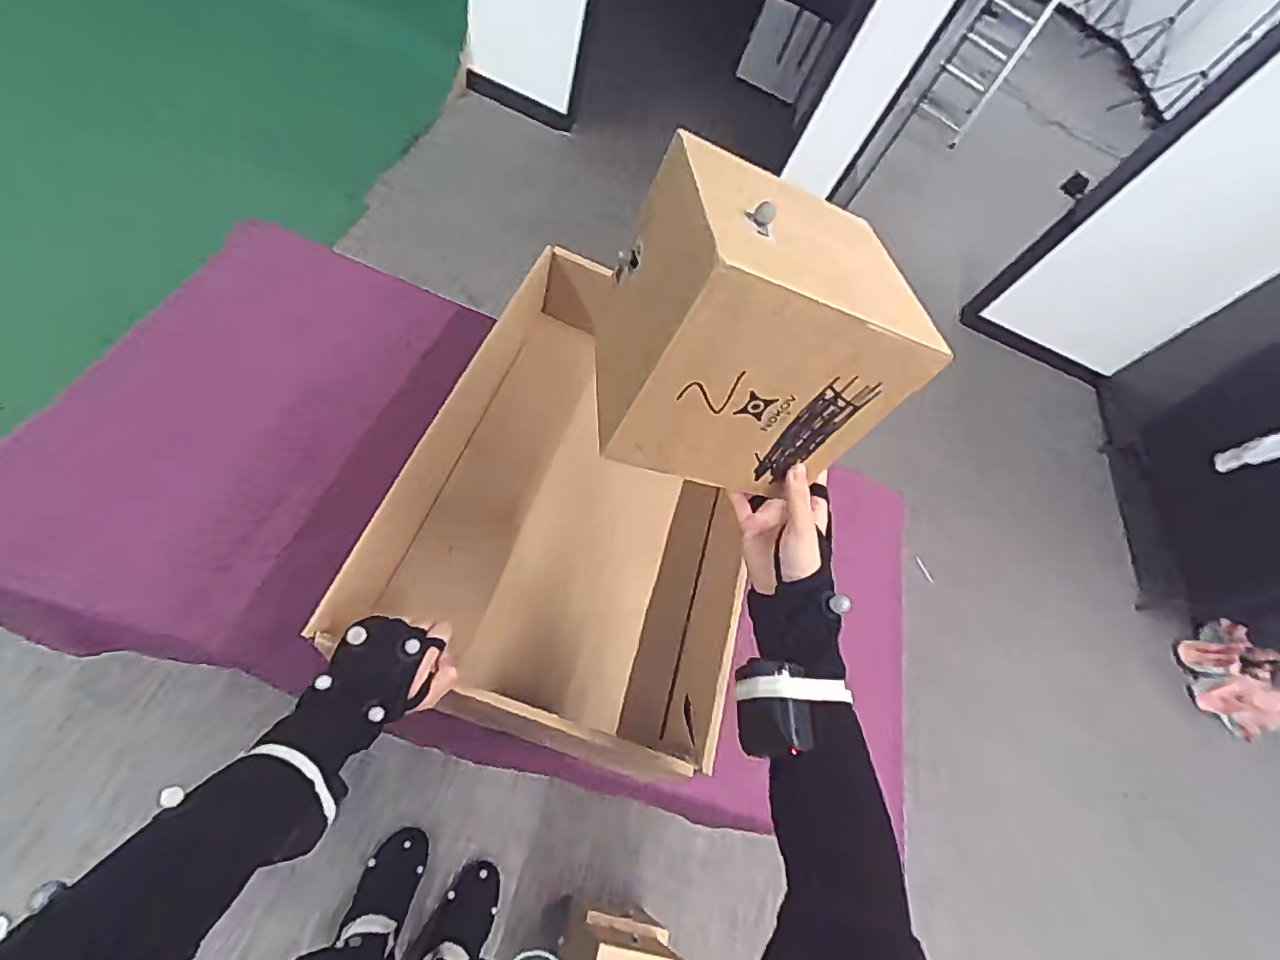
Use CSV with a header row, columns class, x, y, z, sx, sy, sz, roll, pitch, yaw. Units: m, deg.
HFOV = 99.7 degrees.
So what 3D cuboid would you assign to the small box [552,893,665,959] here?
class,x,y,z,sx,sy,sz,roll,pitch,yaw
small box,-0.070,0.968,1.095,0.179,0.176,0.168,20,58,-7
